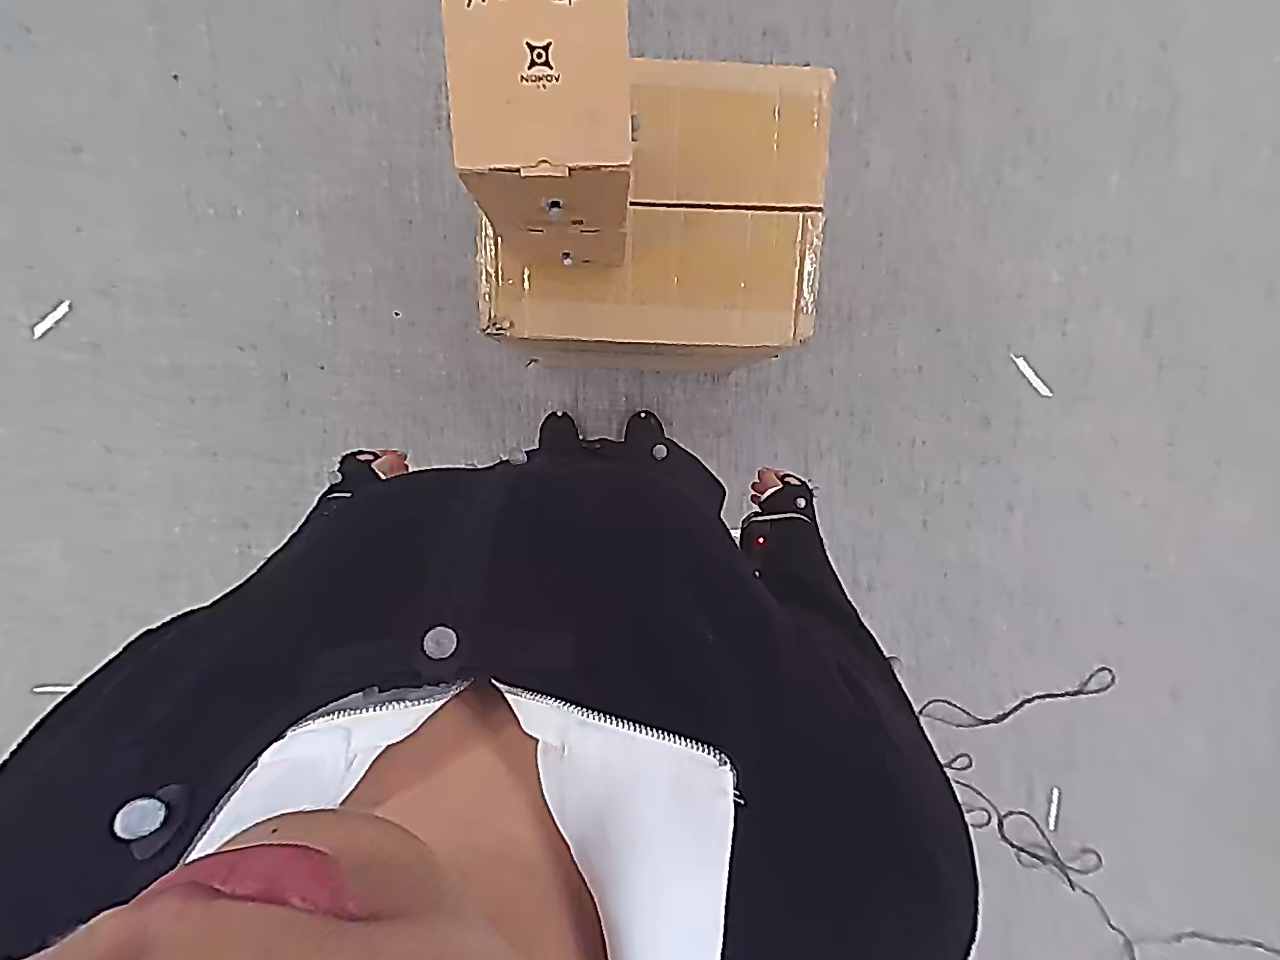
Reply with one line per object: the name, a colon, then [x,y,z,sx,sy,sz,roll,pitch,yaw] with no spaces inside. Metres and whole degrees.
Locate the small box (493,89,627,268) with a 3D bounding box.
small box: [-0.102,-0.402,0.733,0.168,0.176,0.179,-1,98,-2]

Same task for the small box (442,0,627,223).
small box: [-0.097,-0.383,0.570,0.168,0.176,0.179,-2,98,-3]
